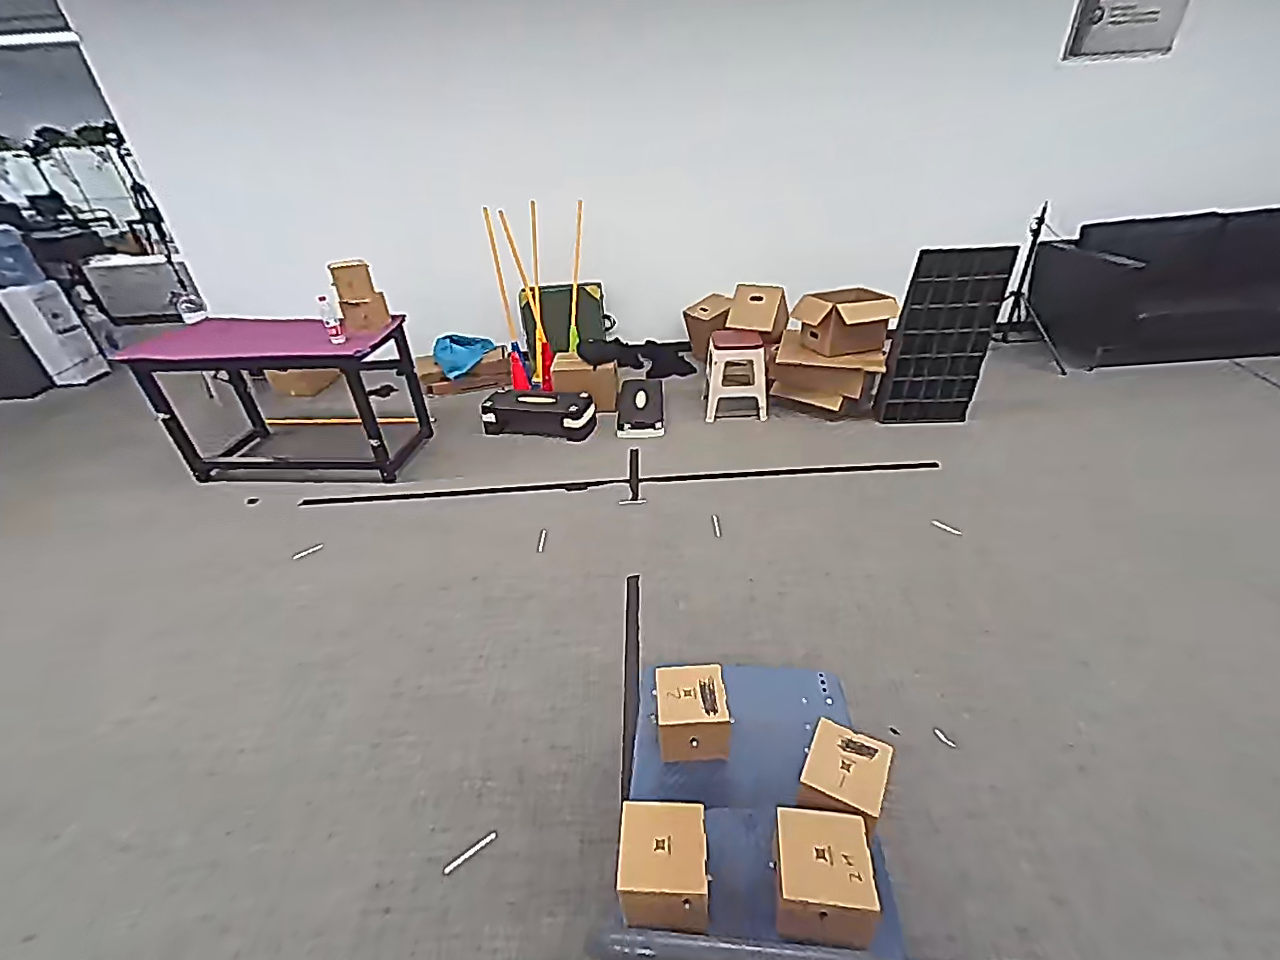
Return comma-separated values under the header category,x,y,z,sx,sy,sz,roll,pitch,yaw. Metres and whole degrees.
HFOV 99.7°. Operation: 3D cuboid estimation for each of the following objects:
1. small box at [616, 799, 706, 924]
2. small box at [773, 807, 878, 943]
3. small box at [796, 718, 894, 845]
category,x,y,z,sx,sy,sz,roll,pitch,yaw
small box,0.049,0.799,1.133,0.179,0.176,0.168,0,33,4
small box,0.364,0.799,1.096,0.179,0.176,0.168,2,34,10
small box,0.466,0.697,1.242,0.168,0.176,0.179,15,38,27
